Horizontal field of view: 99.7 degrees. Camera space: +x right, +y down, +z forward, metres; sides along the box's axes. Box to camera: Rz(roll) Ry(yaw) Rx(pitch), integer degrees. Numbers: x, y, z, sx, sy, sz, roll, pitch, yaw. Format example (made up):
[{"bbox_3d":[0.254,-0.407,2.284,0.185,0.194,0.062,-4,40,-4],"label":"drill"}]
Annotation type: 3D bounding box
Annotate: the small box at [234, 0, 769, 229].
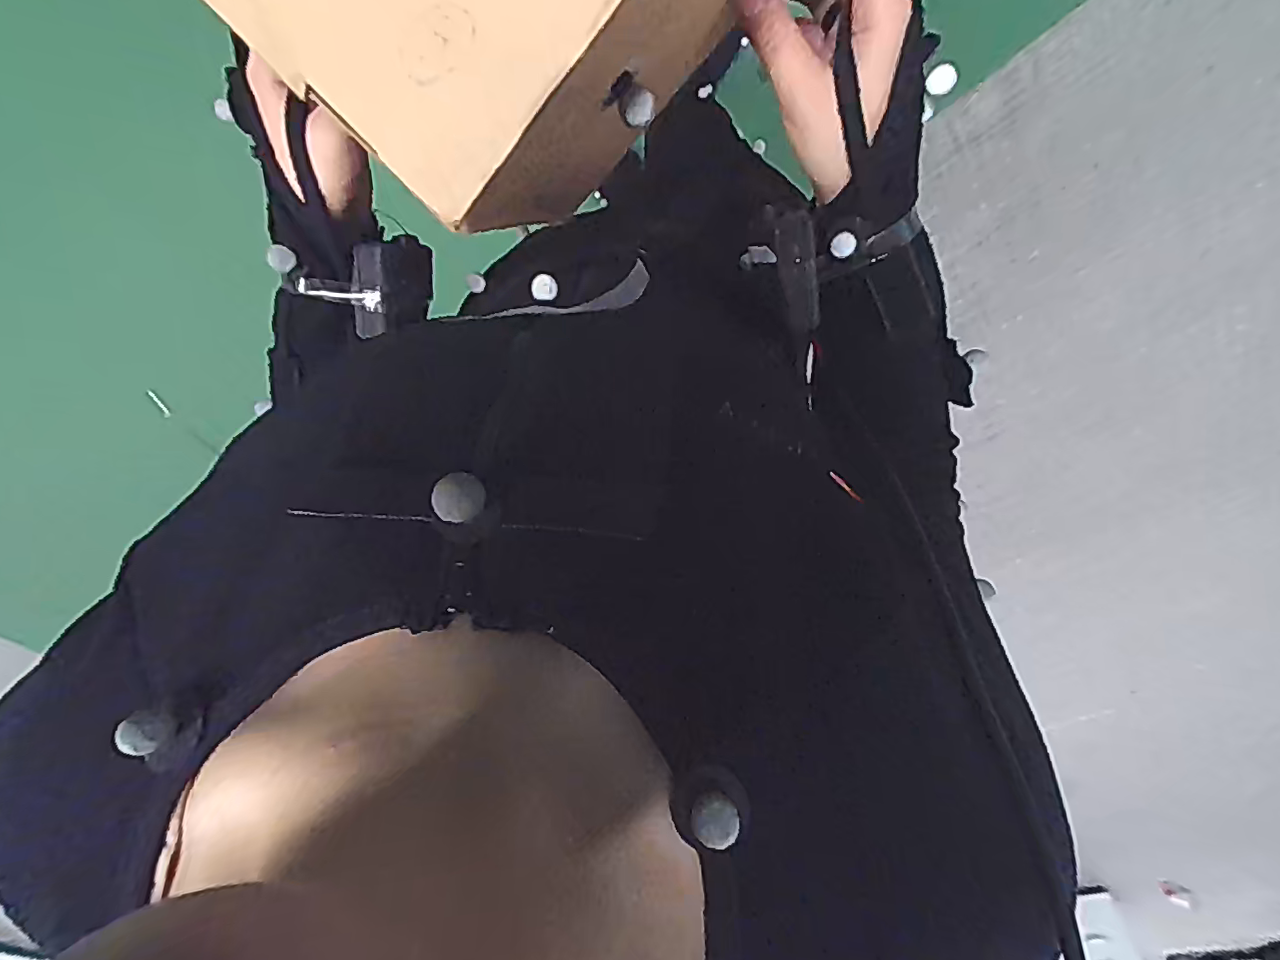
[{"bbox_3d":[-0.045,-0.224,0.204,0.179,0.176,0.168,-39,106,23],"label":"small box"}]
